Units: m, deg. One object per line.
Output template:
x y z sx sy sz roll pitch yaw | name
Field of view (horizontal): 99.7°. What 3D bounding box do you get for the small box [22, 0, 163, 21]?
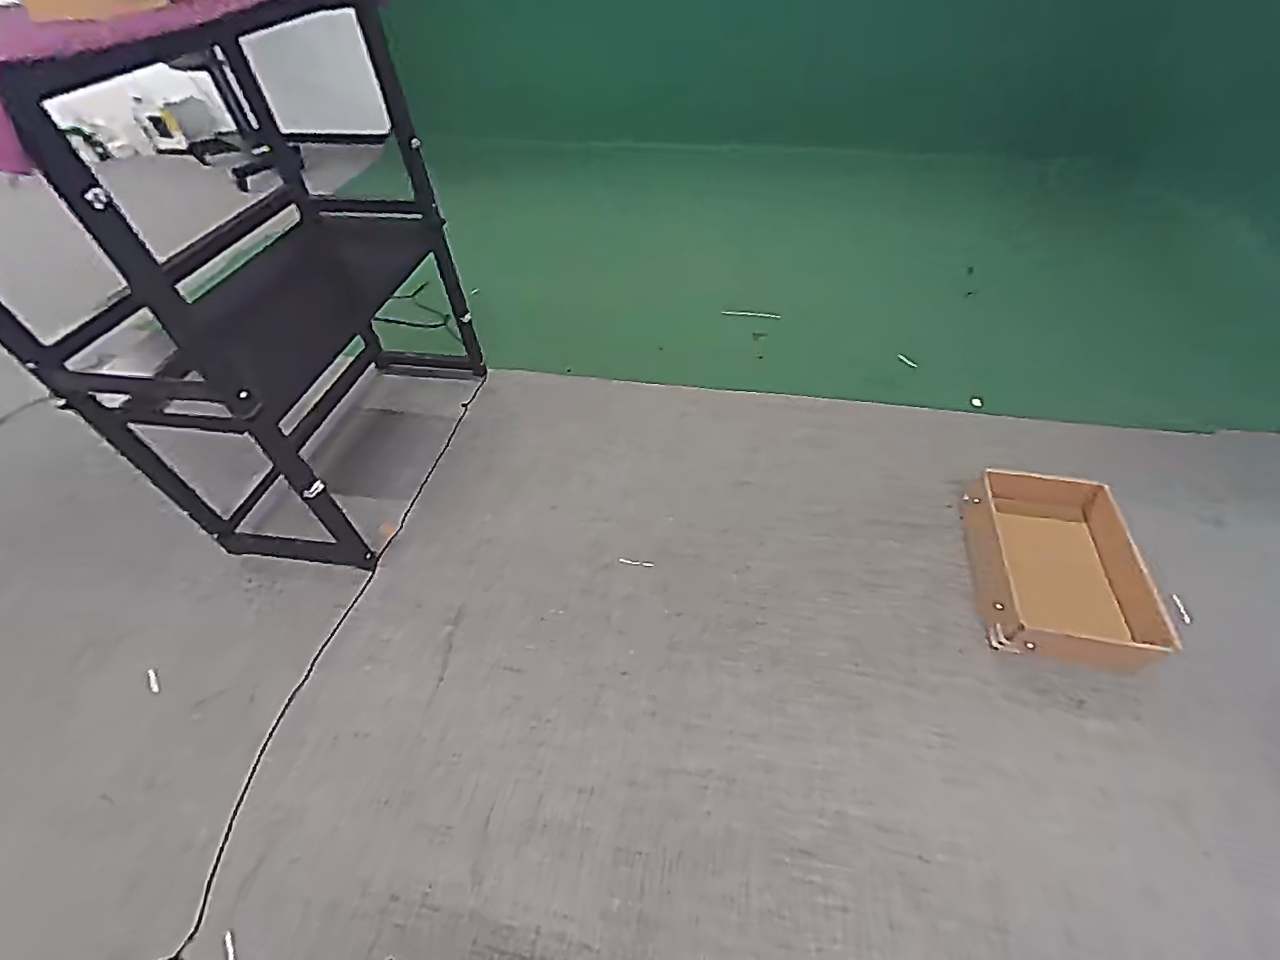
-1.086 -0.999 1.030 0.179 0.176 0.168 7 49 10 | small box
